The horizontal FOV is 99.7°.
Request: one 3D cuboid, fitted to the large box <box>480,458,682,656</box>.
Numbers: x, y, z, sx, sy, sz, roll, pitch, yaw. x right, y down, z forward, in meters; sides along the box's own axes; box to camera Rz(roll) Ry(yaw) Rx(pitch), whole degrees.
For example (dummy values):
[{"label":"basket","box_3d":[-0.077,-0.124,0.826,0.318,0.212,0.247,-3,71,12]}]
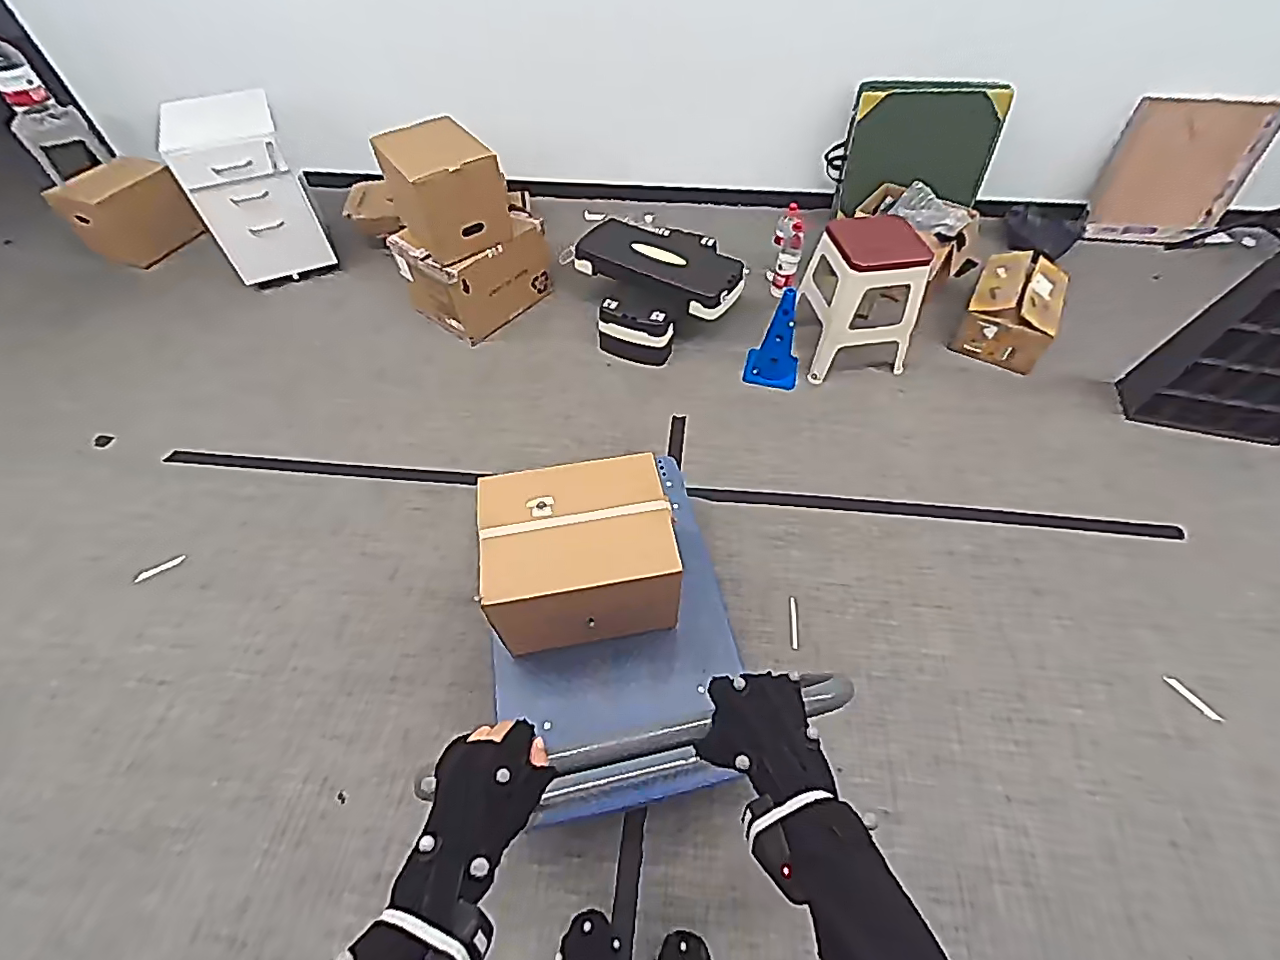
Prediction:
[{"label":"large box","box_3d":[-0.134,0.187,1.278,0.408,0.320,0.320,-9,54,-5]}]
